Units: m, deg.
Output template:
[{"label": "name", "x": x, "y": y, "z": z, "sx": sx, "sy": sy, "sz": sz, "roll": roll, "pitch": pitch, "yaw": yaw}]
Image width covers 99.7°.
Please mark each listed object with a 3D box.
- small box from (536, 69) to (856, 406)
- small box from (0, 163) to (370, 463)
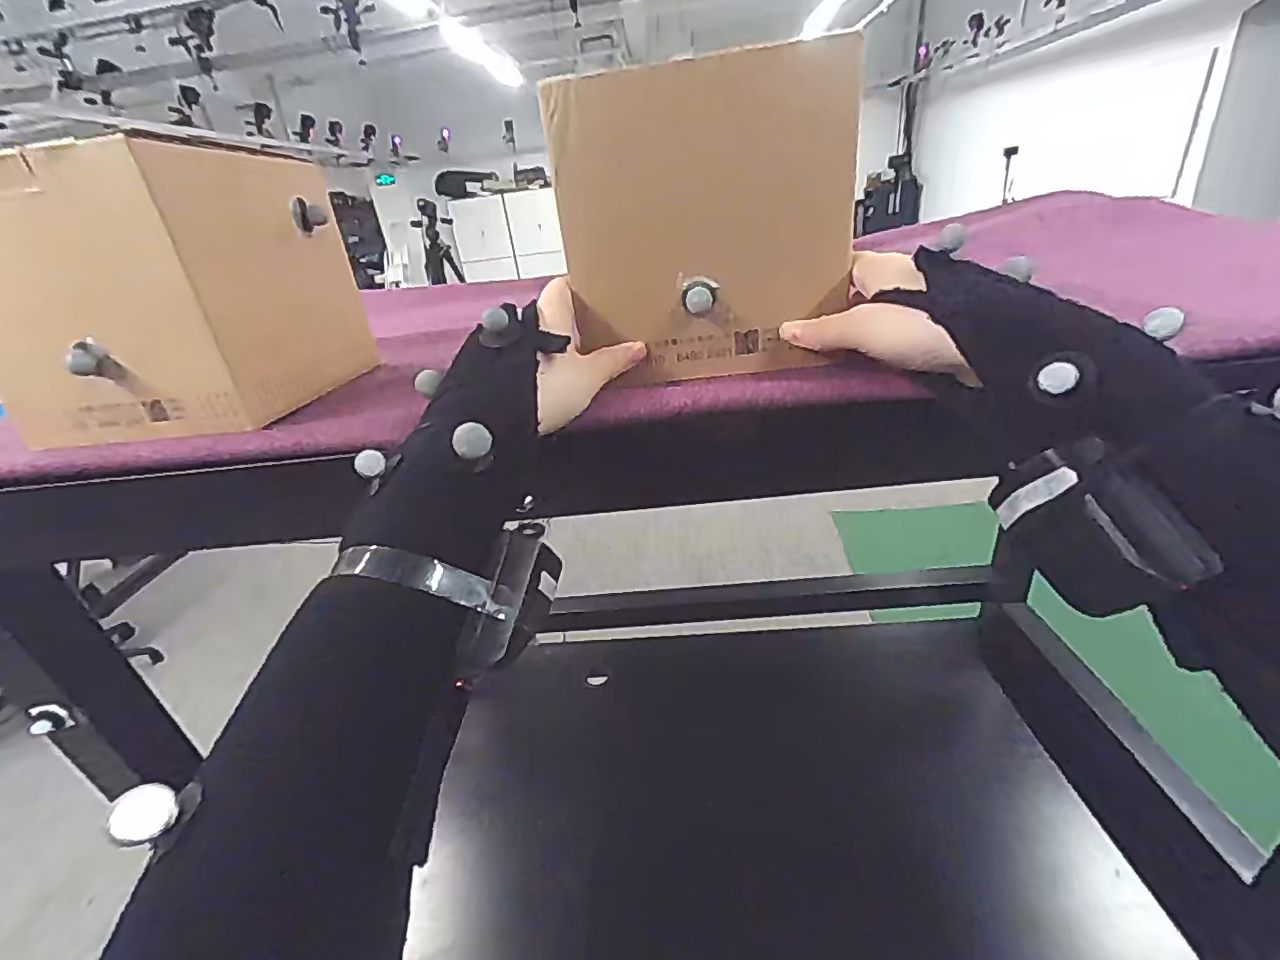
[{"label": "small box", "x": 0.039, "y": -0.163, "z": 0.383, "sx": 0.168, "sy": 0.176, "sz": 0.179, "roll": -5, "pitch": 30, "yaw": 6}, {"label": "small box", "x": -0.331, "y": -0.125, "z": 0.402, "sx": 0.168, "sy": 0.176, "sz": 0.179, "roll": -5, "pitch": 27, "yaw": 5}]
